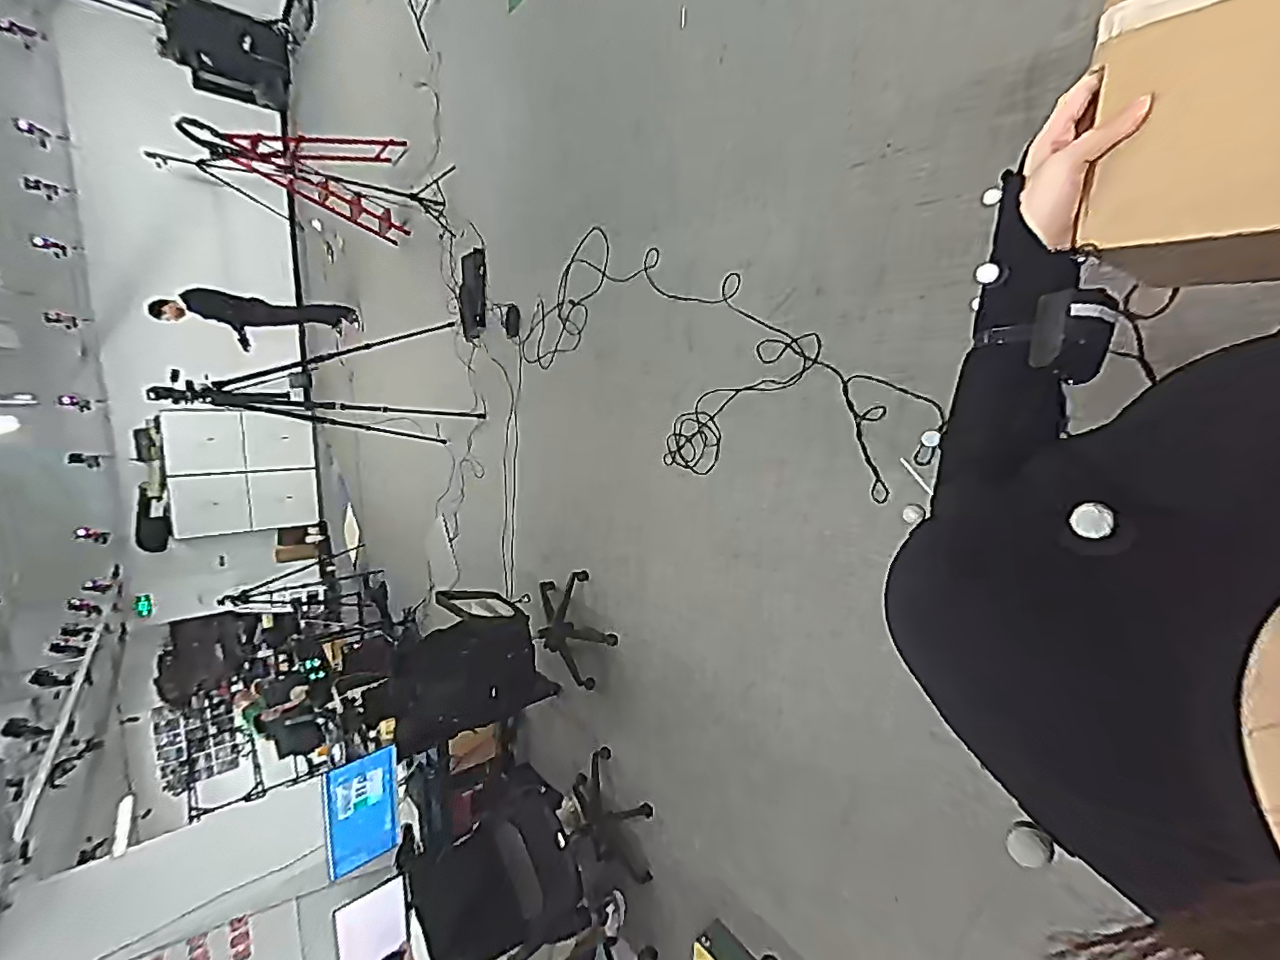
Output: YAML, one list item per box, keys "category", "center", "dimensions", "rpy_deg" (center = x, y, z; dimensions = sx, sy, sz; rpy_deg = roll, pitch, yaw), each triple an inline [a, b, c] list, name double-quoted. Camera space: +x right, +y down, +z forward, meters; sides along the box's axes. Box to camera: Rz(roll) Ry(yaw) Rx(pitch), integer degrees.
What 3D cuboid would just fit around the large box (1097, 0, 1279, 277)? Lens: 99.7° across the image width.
- category: "large box"
  center: [0.591, -0.327, 0.338]
  dimensions: [0.408, 0.320, 0.320]
  rpy_deg: [14, 109, 47]
